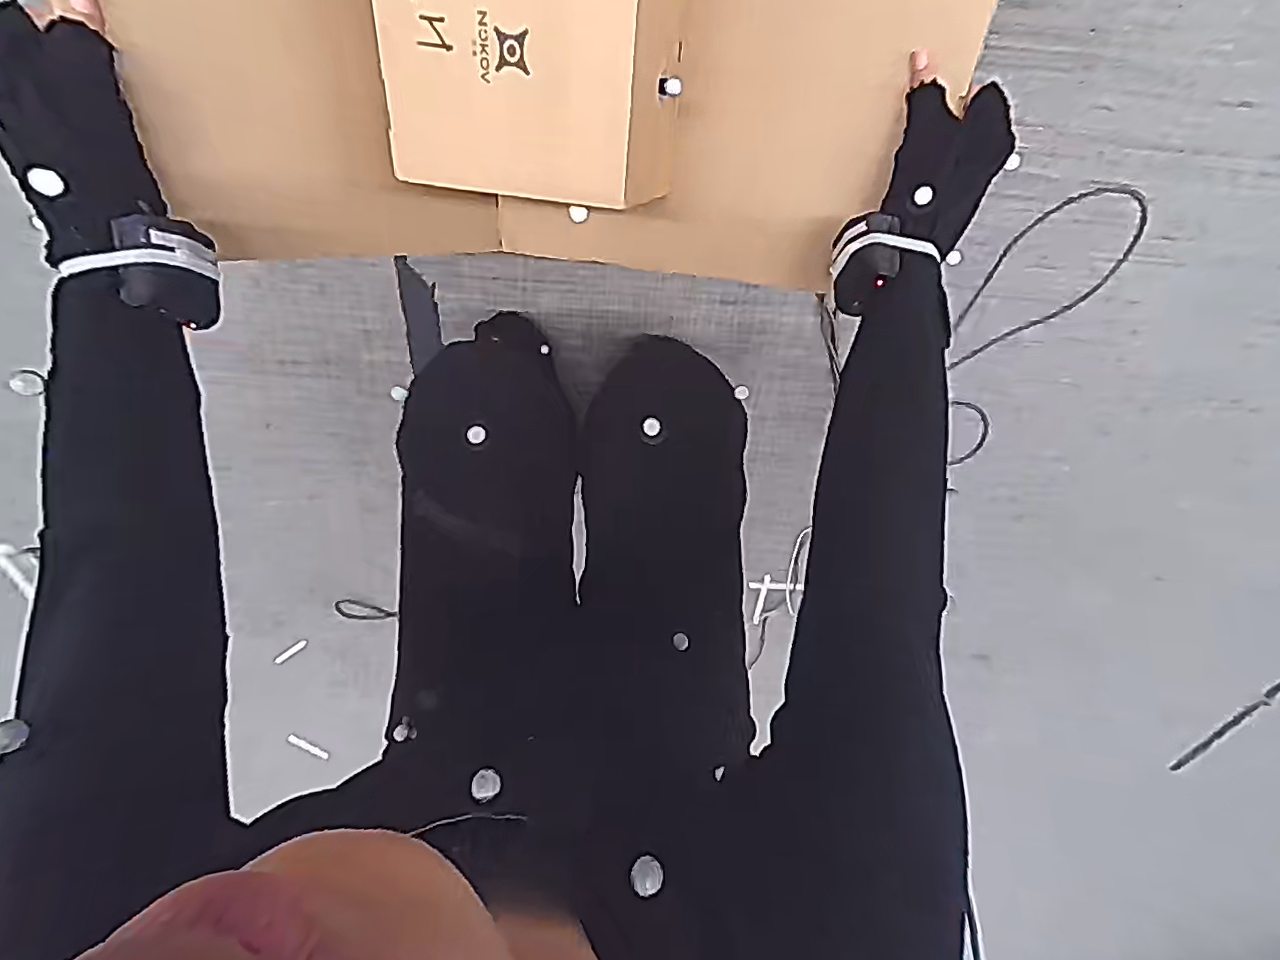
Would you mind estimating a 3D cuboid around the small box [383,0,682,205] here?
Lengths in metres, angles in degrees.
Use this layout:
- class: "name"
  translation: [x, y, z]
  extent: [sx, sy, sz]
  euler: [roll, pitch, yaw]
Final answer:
- class: "small box"
  translation: [-0.070, -0.324, 0.423]
  extent: [0.179, 0.176, 0.168]
  euler: [12, 123, 9]
